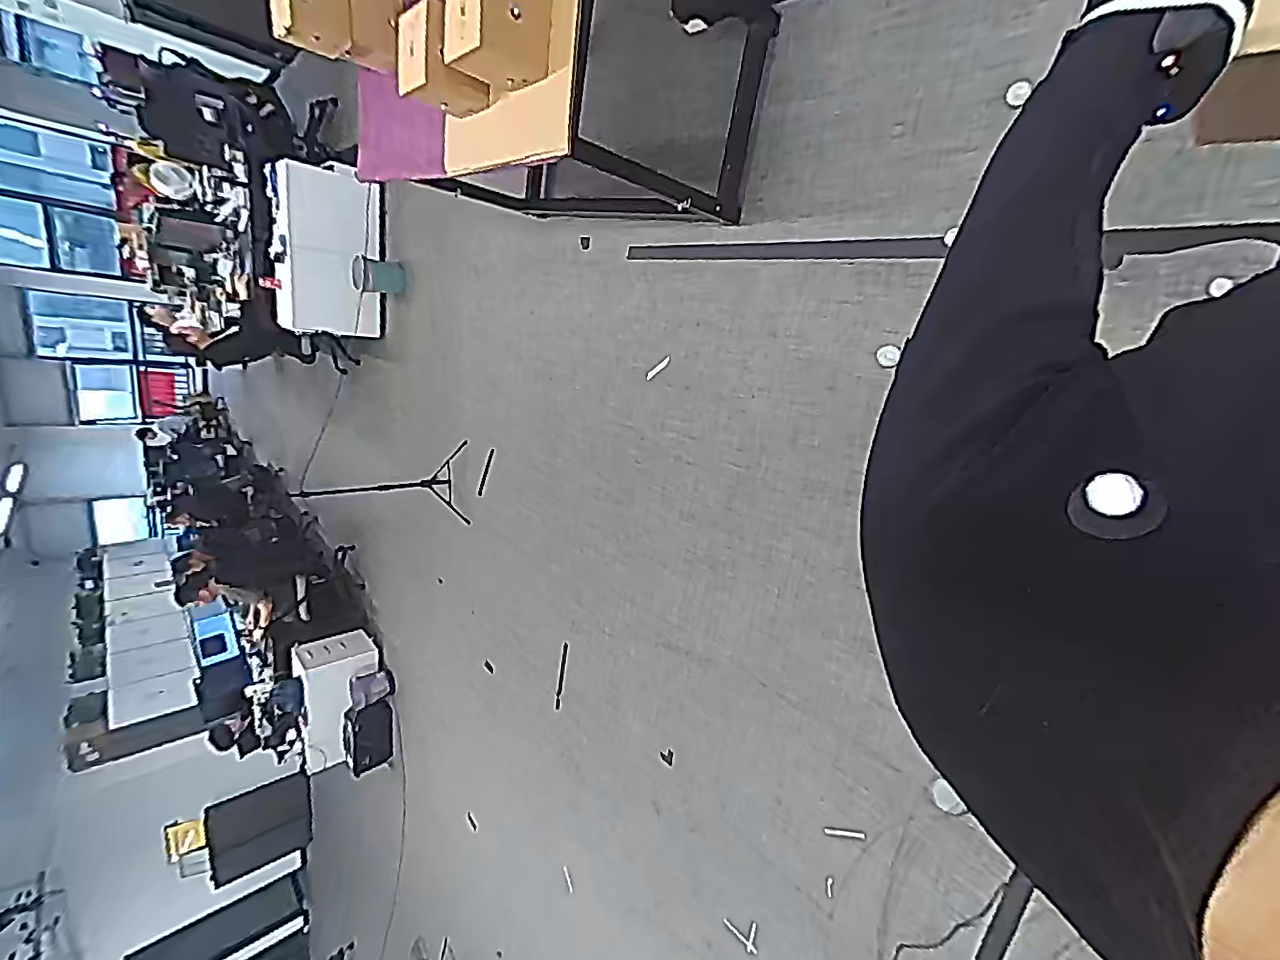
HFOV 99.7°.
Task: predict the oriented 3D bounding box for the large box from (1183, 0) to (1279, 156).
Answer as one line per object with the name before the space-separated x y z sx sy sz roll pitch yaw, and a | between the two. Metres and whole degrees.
large box | 0.649 -0.419 0.322 0.408 0.320 0.320 22 118 41
